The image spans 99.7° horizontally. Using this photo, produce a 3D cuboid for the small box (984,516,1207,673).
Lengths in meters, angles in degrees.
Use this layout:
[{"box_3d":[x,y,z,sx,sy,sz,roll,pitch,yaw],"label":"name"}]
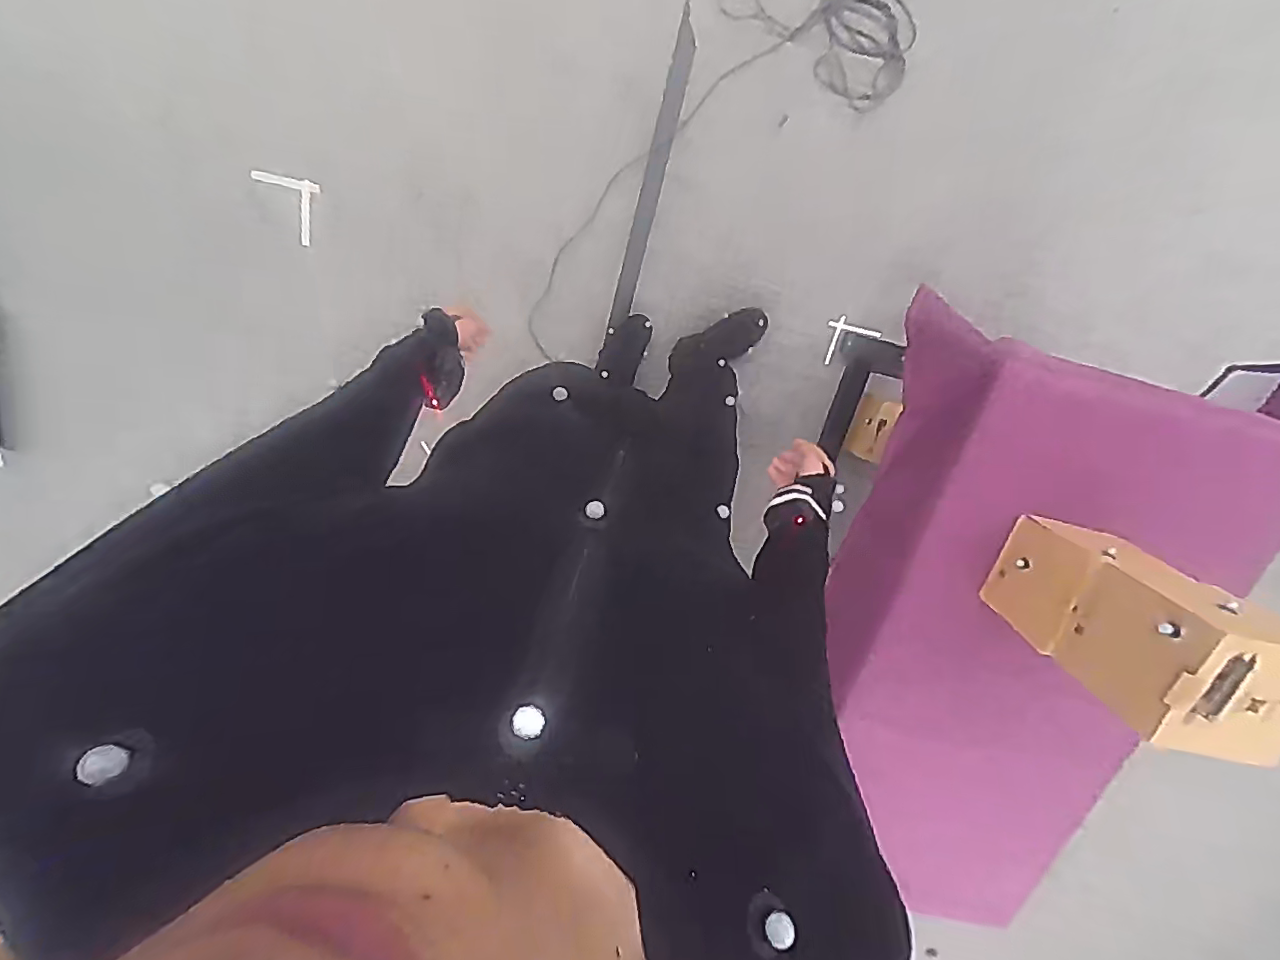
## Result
[{"box_3d":[0.709,0.175,0.867,0.179,0.176,0.168,13,110,-4],"label":"small box"}]
